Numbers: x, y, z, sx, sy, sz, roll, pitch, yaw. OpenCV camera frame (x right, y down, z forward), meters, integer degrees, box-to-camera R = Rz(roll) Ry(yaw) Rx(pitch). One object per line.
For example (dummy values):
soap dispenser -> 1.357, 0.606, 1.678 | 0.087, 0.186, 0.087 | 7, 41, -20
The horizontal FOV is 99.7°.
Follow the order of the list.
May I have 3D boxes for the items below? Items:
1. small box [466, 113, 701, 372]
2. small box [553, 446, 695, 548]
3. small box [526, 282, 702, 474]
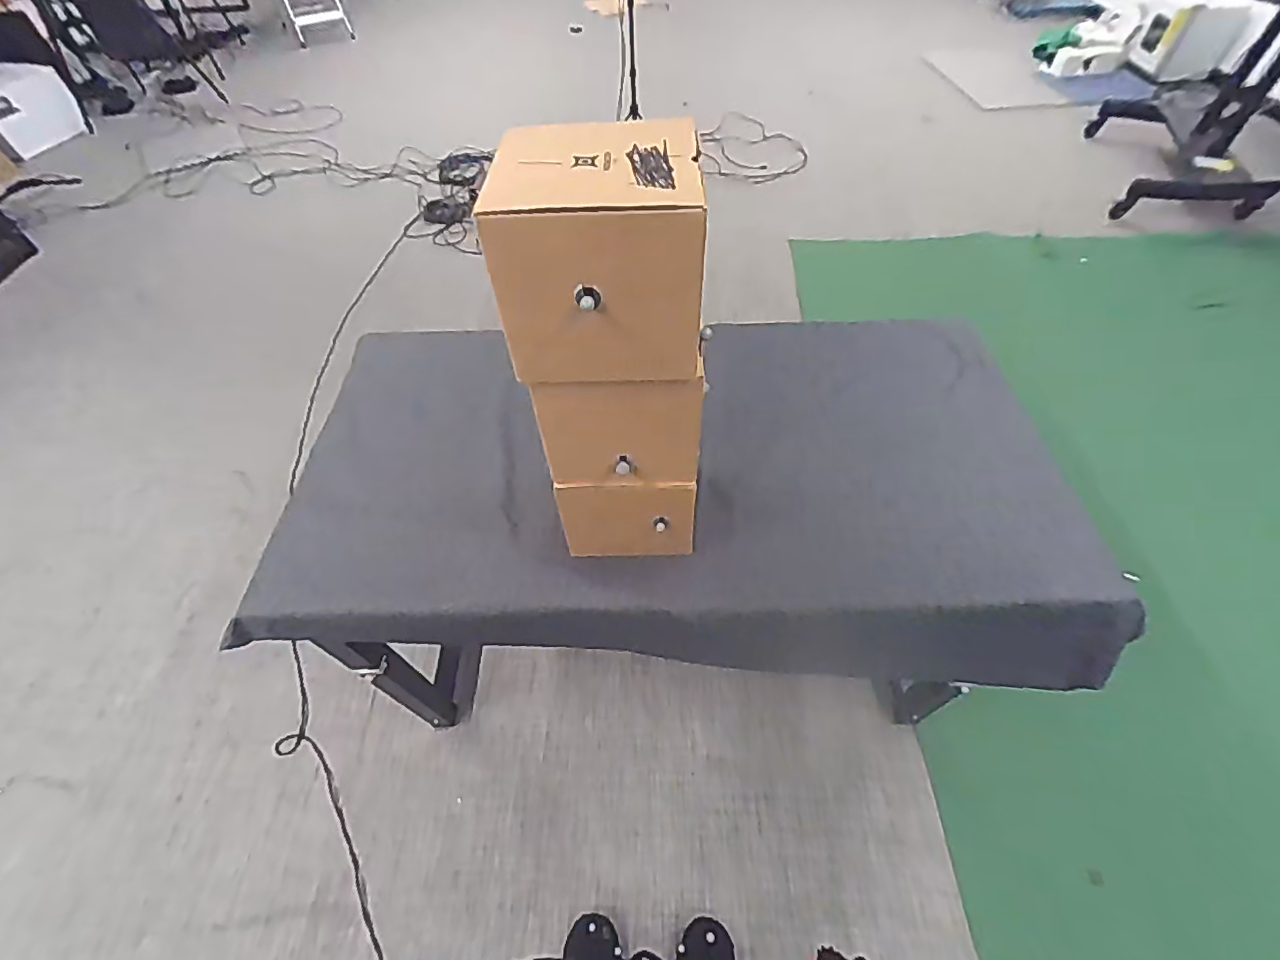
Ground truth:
small box -> -0.037, -0.217, 0.508 | 0.179, 0.176, 0.168 | 2, 51, 4
small box -> -0.017, -0.014, 0.768 | 0.179, 0.176, 0.168 | -3, 52, 2
small box -> -0.024, -0.119, 0.642 | 0.179, 0.176, 0.168 | -1, 53, 1
